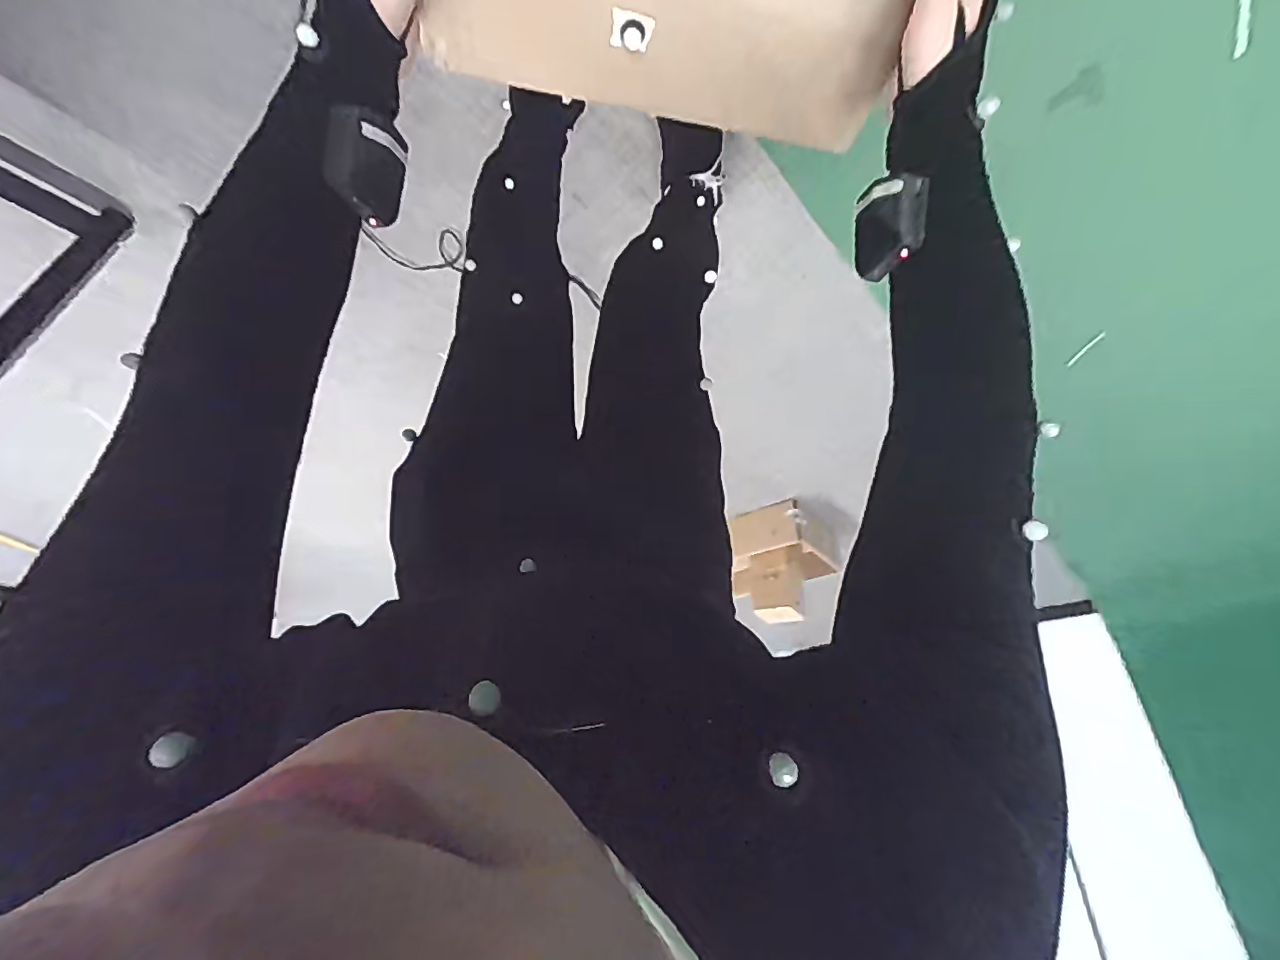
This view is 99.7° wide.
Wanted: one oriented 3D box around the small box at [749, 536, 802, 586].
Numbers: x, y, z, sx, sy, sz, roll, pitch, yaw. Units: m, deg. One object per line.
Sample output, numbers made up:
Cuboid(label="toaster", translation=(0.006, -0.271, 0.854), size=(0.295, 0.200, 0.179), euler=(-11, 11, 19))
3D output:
Cuboid(label="small box", translation=(0.578, 0.356, 2.305), size=(0.168, 0.176, 0.179), euler=(-18, 141, 35))

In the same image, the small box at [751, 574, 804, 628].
Cuboid(label="small box", translation=(0.567, 0.497, 2.224), size=(0.168, 0.176, 0.179), euler=(-16, 142, 31))
